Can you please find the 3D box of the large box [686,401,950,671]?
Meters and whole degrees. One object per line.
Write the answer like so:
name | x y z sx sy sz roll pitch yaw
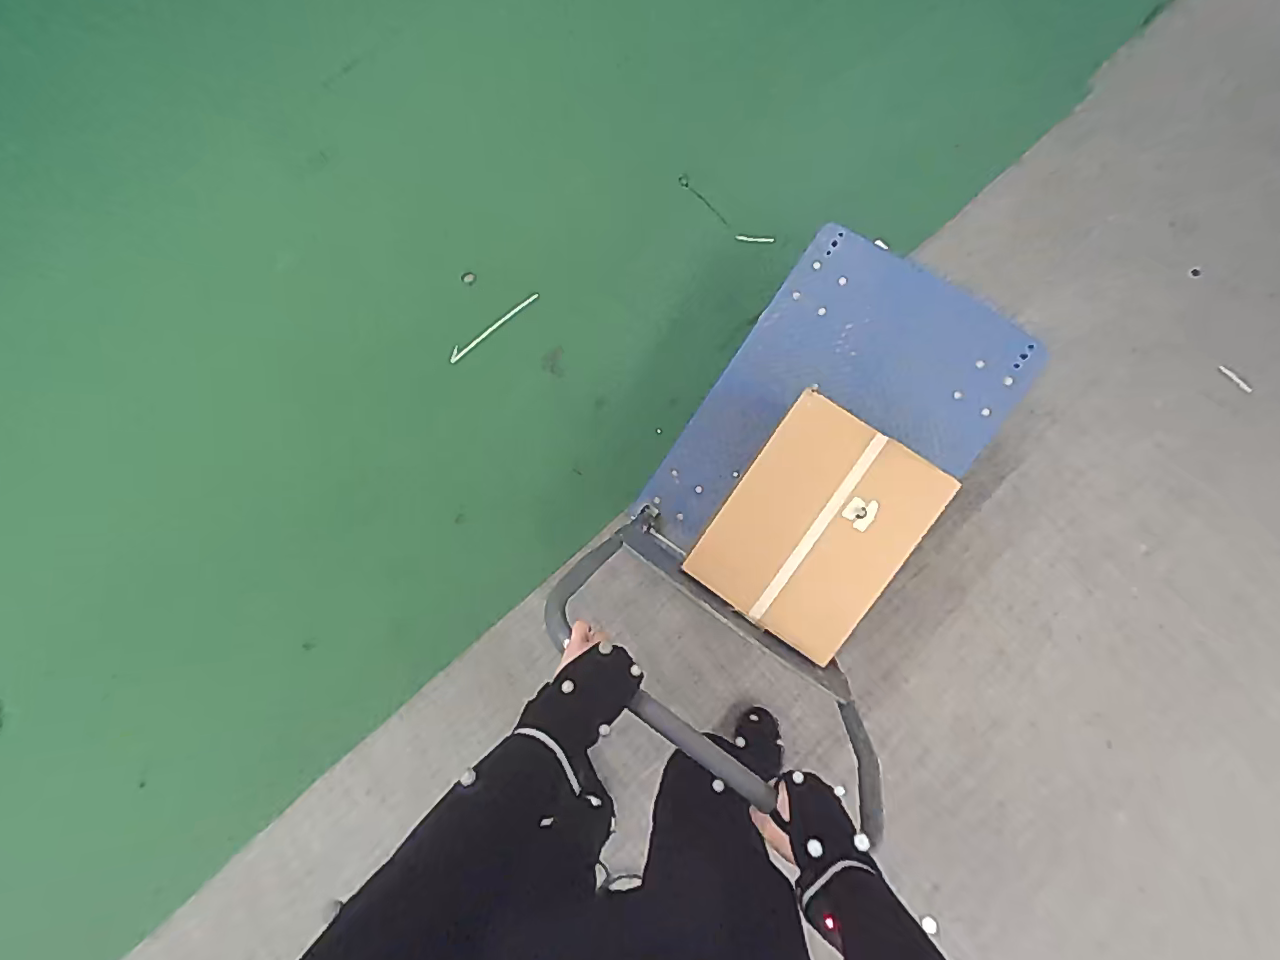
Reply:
large box | 0.339 0.104 1.132 0.320 0.320 0.408 36 95 7
